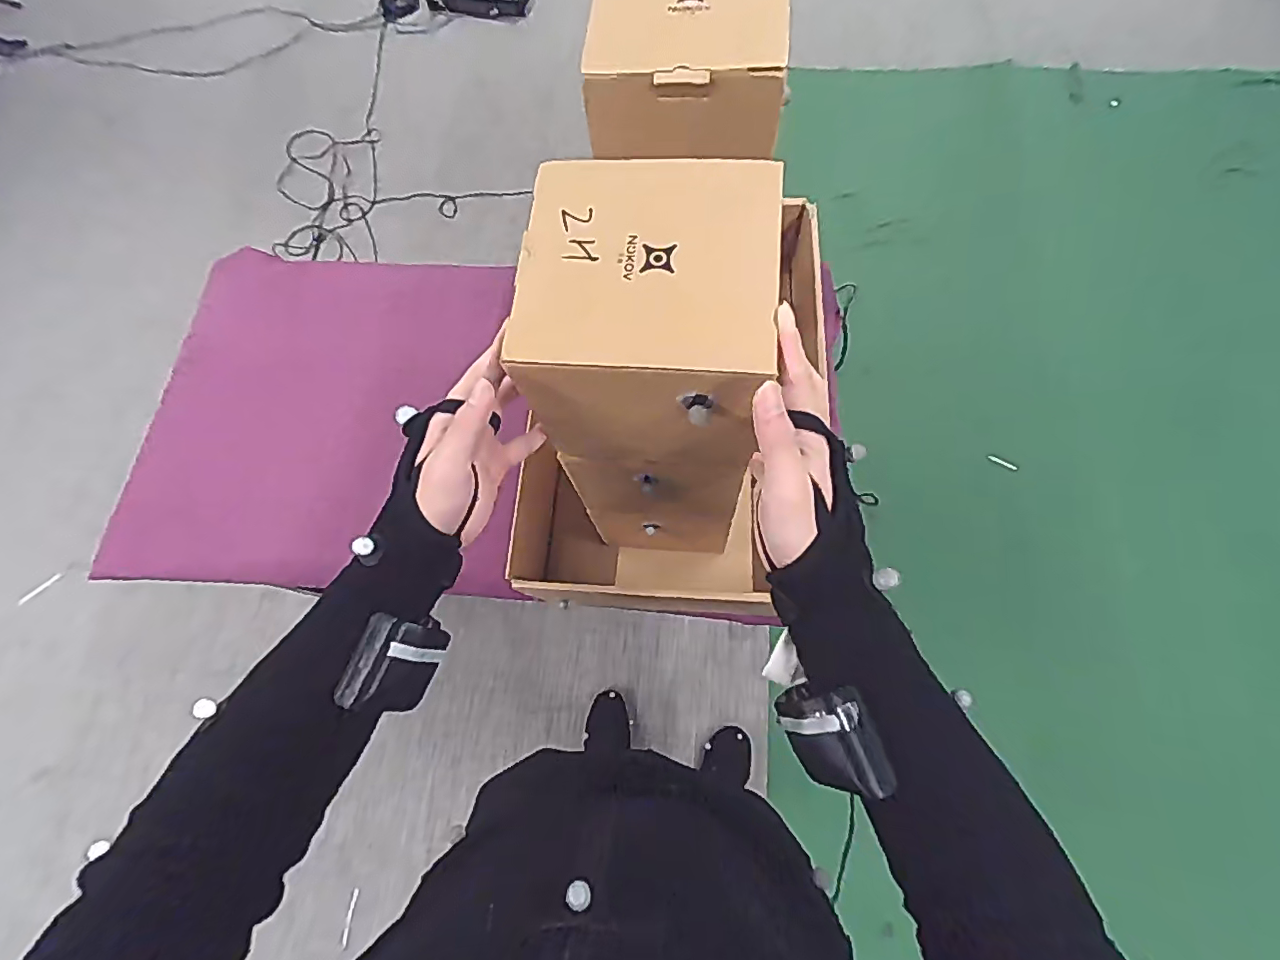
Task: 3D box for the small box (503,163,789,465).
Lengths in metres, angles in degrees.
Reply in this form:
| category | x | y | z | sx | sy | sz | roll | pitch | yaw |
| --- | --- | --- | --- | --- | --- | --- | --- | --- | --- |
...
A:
| category | x | y | z | sx | sy | sz | roll | pitch | yaw |
| --- | --- | --- | --- | --- | --- | --- | --- | --- | --- |
| small box | 0.014 | -0.118 | 0.434 | 0.179 | 0.176 | 0.168 | 4 | 72 | 7 |

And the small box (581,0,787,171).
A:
| category | x | y | z | sx | sy | sz | roll | pitch | yaw |
| --- | --- | --- | --- | --- | --- | --- | --- | --- | --- |
| small box | 0.047 | -0.366 | 0.529 | 0.168 | 0.176 | 0.179 | 4 | 72 | 5 |

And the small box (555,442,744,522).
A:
| category | x | y | z | sx | sy | sz | roll | pitch | yaw |
| --- | --- | --- | --- | --- | --- | --- | --- | --- | --- |
| small box | 0.023 | -0.058 | 0.591 | 0.179 | 0.176 | 0.168 | 5 | 70 | 6 |
